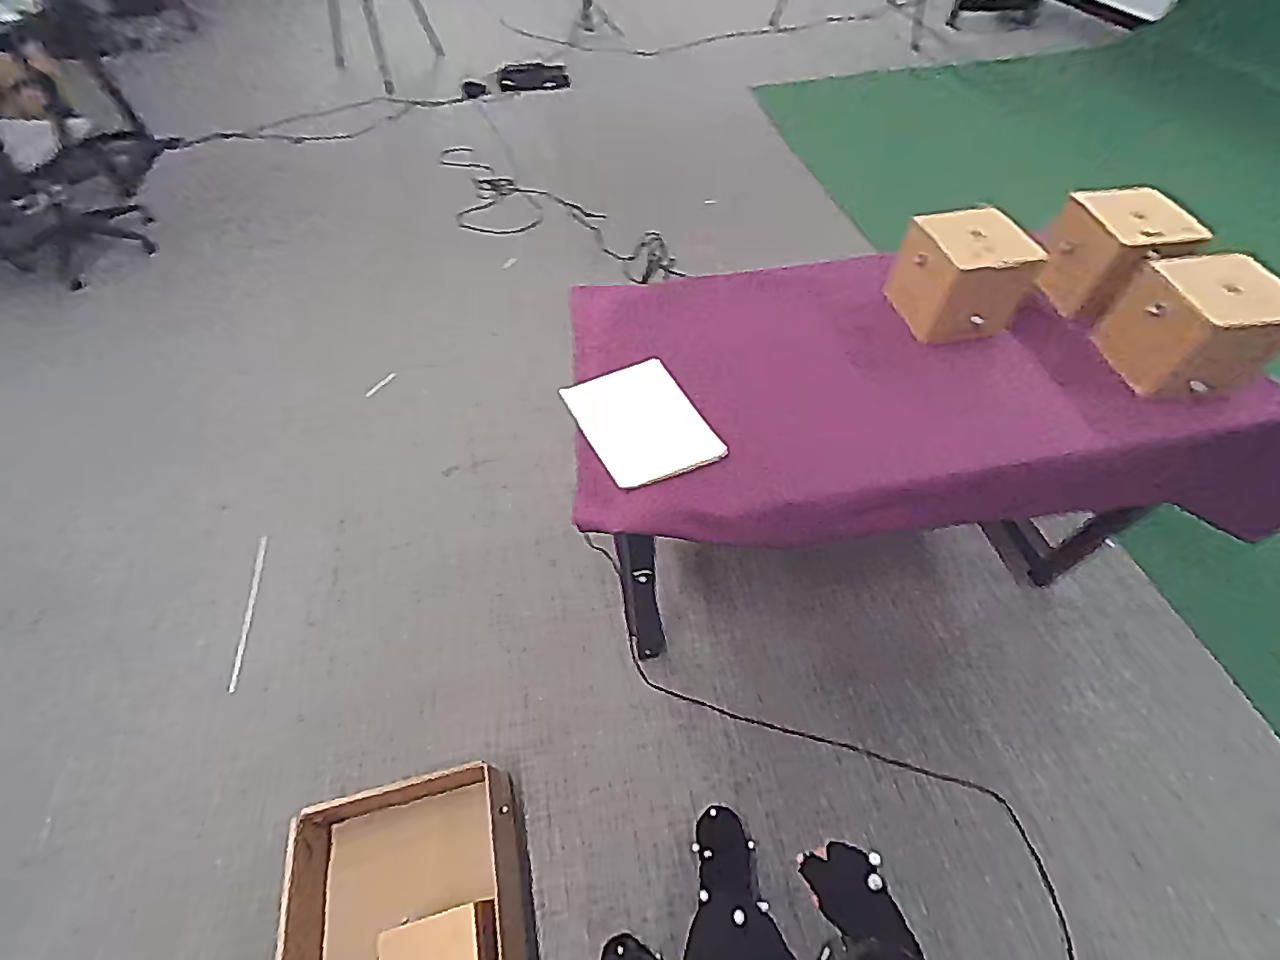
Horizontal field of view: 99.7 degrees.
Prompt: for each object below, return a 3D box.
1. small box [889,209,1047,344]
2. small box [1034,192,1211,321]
[{"bbox_3d":[0.609,-0.387,1.035,0.168,0.176,0.179,-9,56,-4],"label":"small box"},{"bbox_3d":[0.917,-0.435,1.058,0.168,0.176,0.179,-5,54,-1],"label":"small box"}]
